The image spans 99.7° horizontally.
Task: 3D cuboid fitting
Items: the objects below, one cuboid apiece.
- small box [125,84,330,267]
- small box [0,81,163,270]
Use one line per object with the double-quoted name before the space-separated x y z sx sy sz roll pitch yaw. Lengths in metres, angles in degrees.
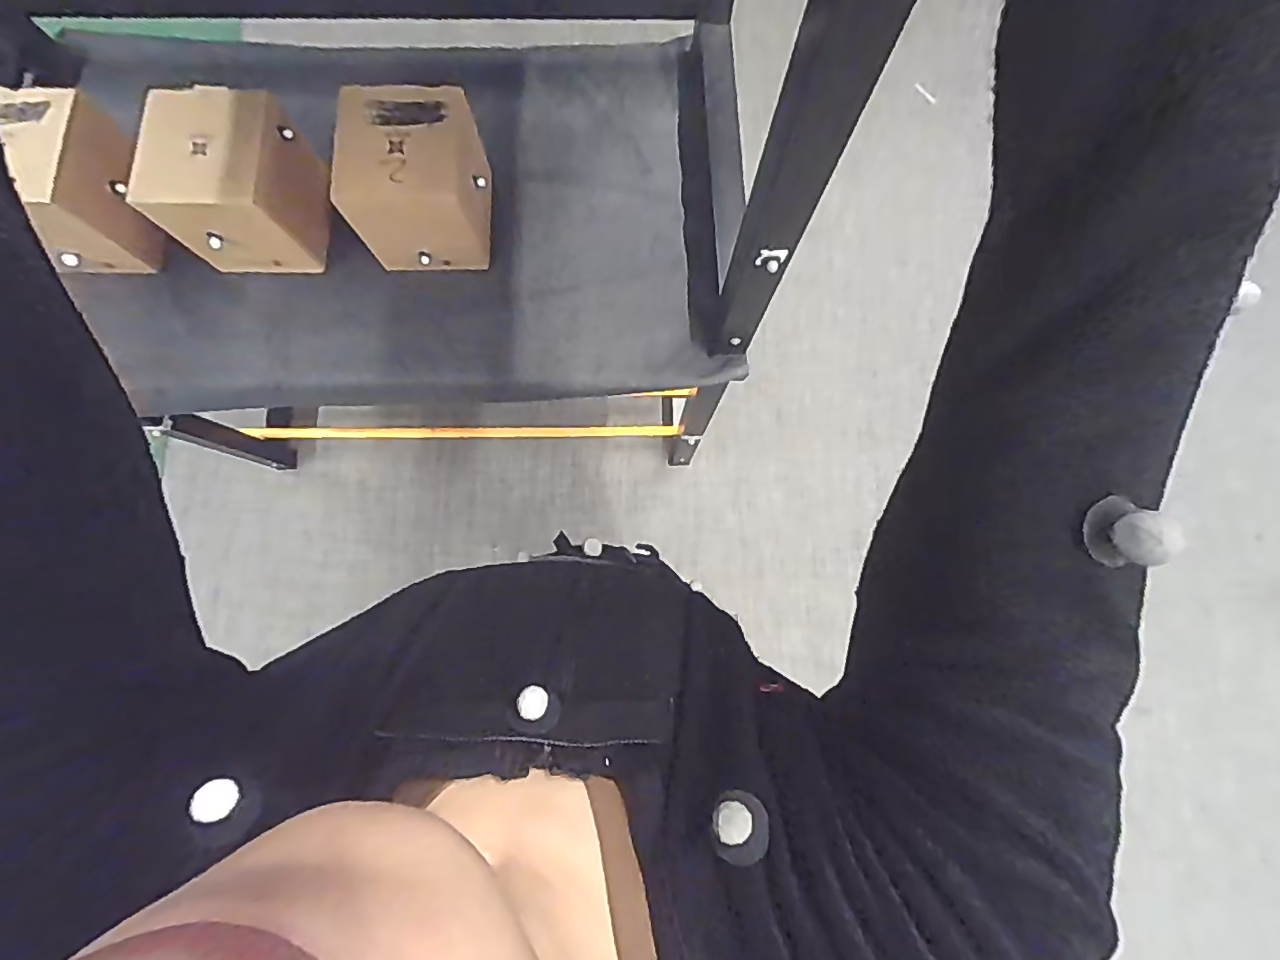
"small box" -0.583 -0.433 0.791 0.168 0.176 0.179 0 80 -1
"small box" -0.836 -0.432 0.782 0.168 0.176 0.179 1 80 -1
